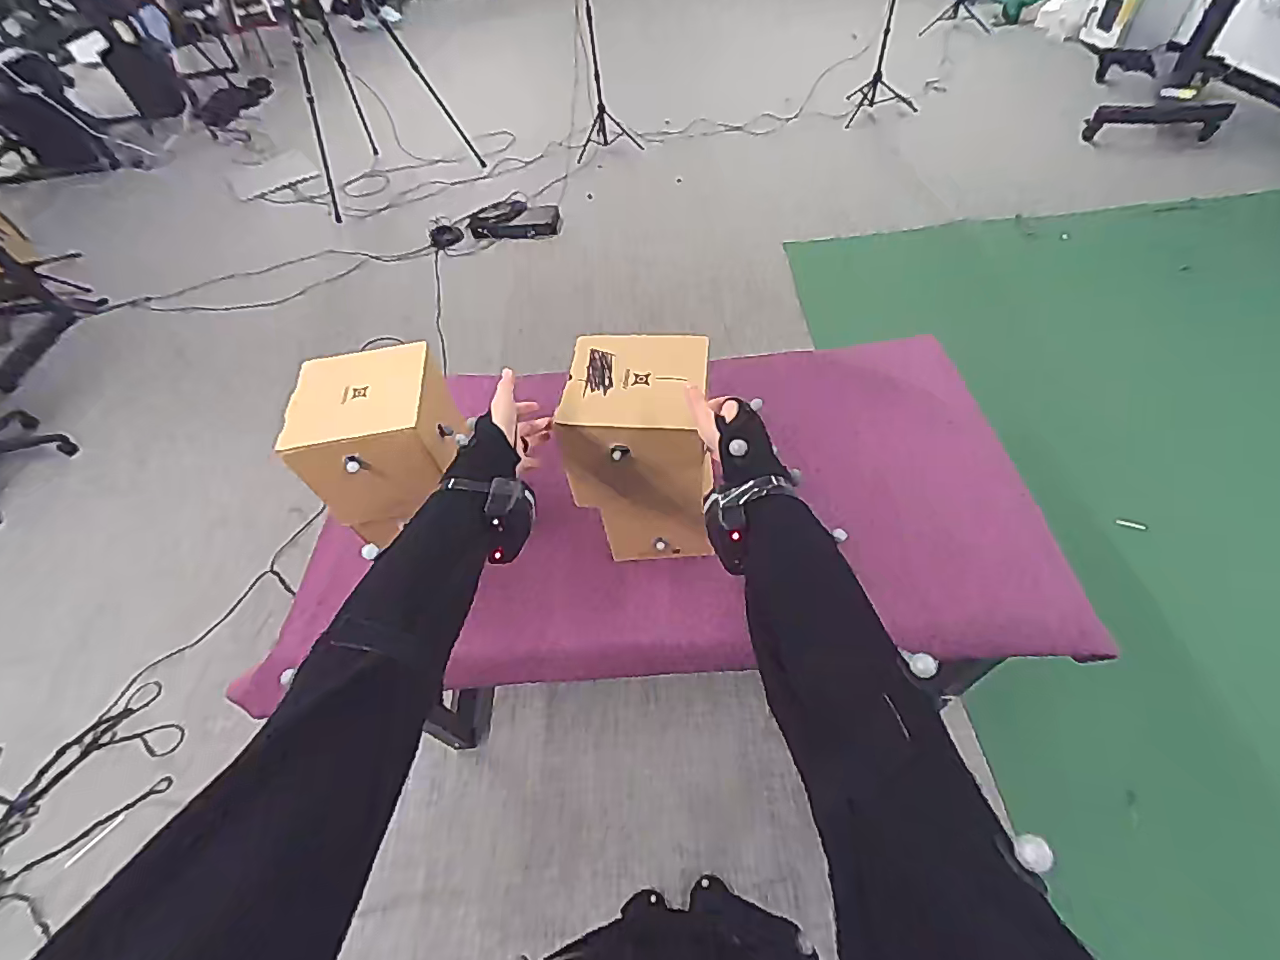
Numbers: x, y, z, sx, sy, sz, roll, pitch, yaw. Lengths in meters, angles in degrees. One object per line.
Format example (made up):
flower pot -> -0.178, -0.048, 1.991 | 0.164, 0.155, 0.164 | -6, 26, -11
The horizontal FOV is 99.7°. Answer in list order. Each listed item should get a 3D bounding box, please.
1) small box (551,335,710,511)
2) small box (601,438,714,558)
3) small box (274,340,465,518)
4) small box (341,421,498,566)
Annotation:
small box -> 0.000, -0.072, 0.716 | 0.179, 0.176, 0.168 | 3, 52, 8
small box -> 0.028, 0.007, 0.862 | 0.168, 0.176, 0.179 | -4, 52, 4
small box -> -0.358, -0.067, 0.759 | 0.179, 0.176, 0.168 | -10, 53, -1
small box -> -0.349, 0.028, 0.890 | 0.179, 0.176, 0.168 | -8, 53, 0
